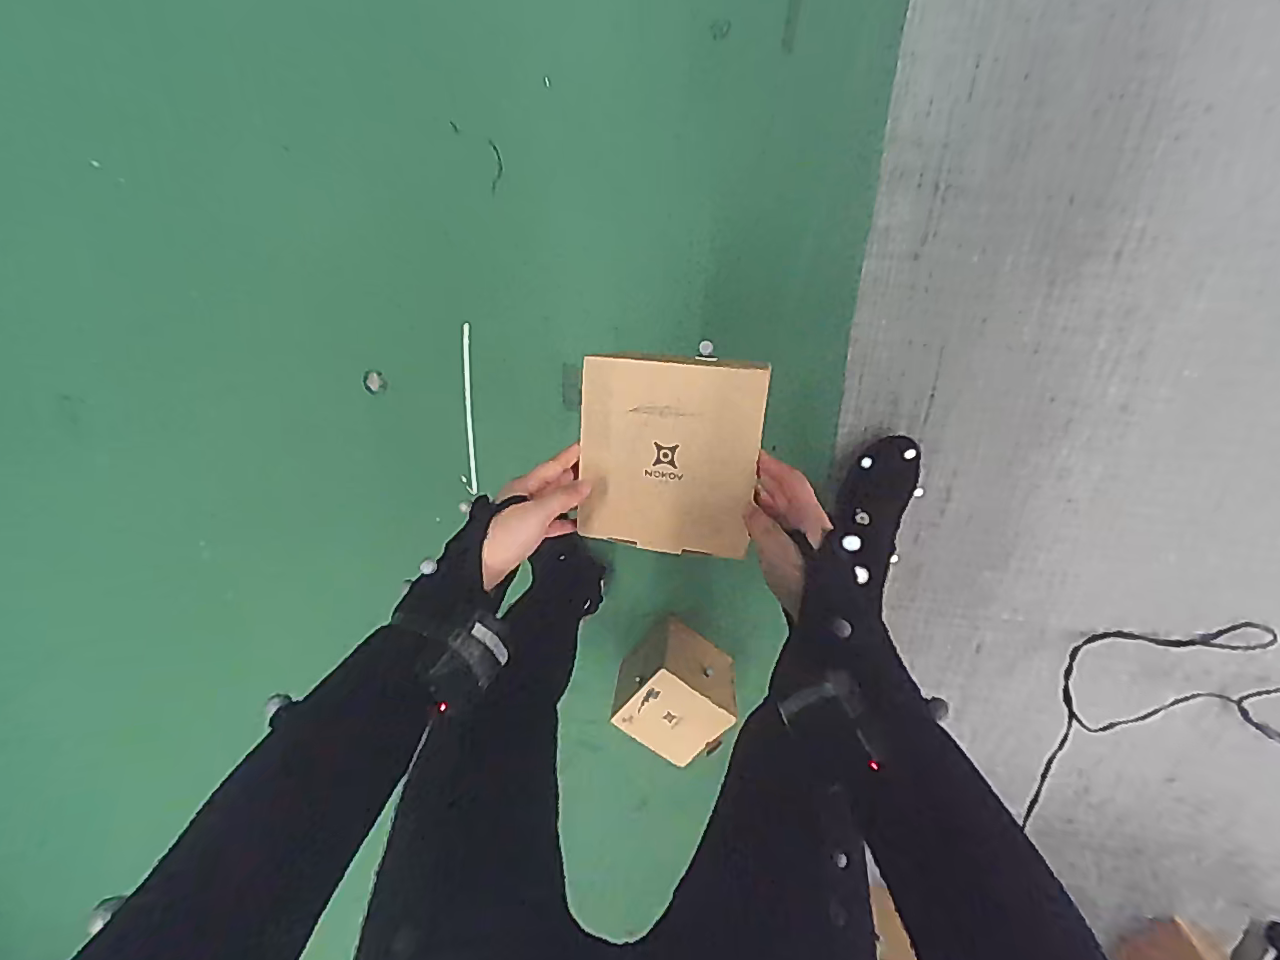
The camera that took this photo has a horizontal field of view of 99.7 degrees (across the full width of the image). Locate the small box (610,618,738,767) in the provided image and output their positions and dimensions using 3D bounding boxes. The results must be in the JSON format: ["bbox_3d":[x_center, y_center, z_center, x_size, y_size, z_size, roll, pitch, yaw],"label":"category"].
[{"bbox_3d":[0.066,0.403,1.049,0.179,0.176,0.168,36,110,-9],"label":"small box"}]

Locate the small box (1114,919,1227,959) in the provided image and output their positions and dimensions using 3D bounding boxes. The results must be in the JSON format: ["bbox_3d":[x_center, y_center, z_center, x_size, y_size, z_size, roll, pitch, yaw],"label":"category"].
[{"bbox_3d":[1.240,1.141,1.213,0.168,0.176,0.179,35,110,-8],"label":"small box"}]
